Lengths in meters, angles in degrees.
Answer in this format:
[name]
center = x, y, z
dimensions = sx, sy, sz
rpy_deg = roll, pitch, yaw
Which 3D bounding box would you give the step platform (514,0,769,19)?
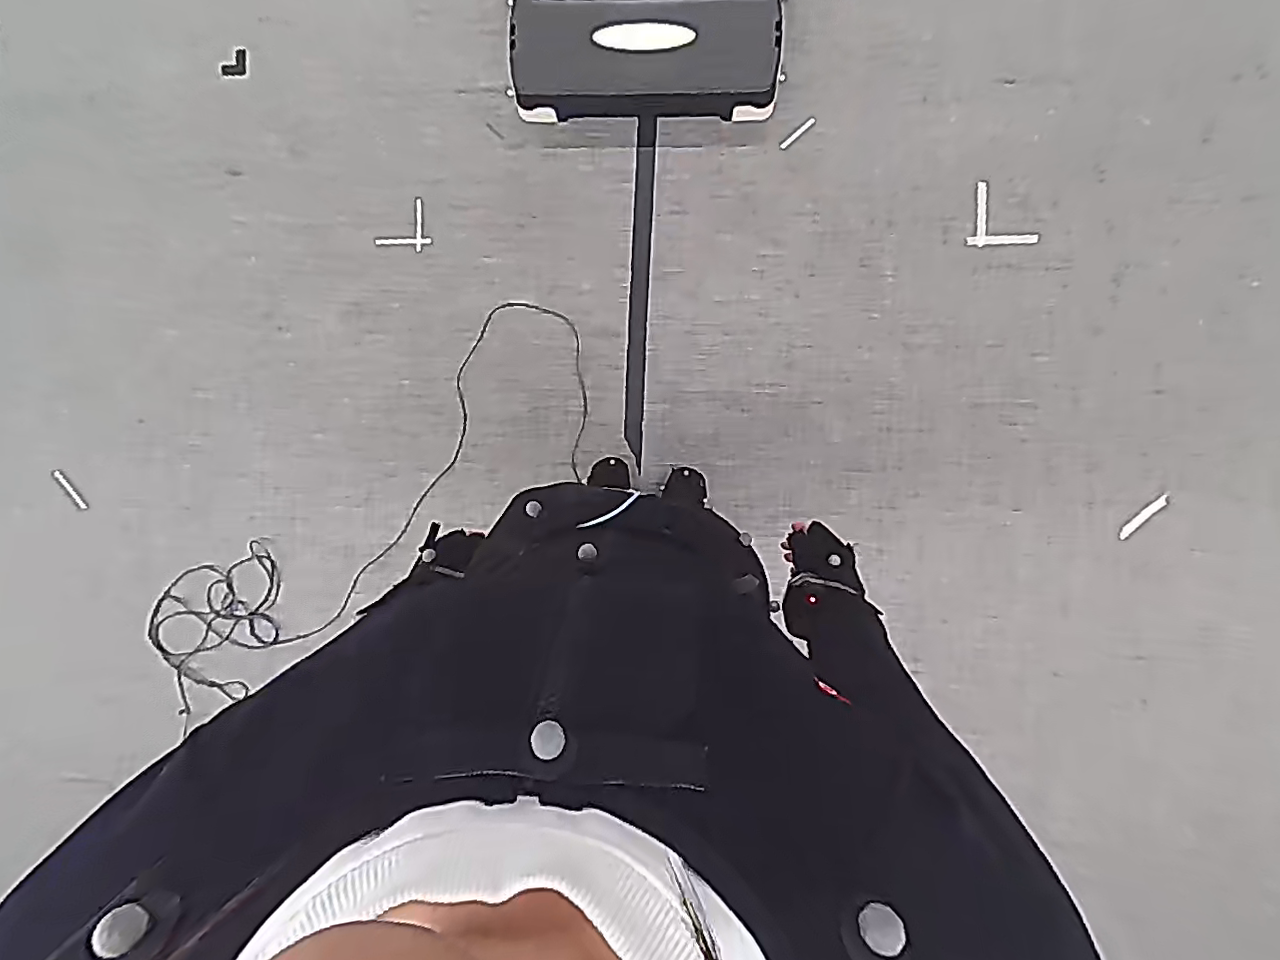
[step platform]
center = -0.001, -1.334, 1.292
dimensions = 0.684, 0.204, 0.286
rpy_deg = 1, 93, 2
